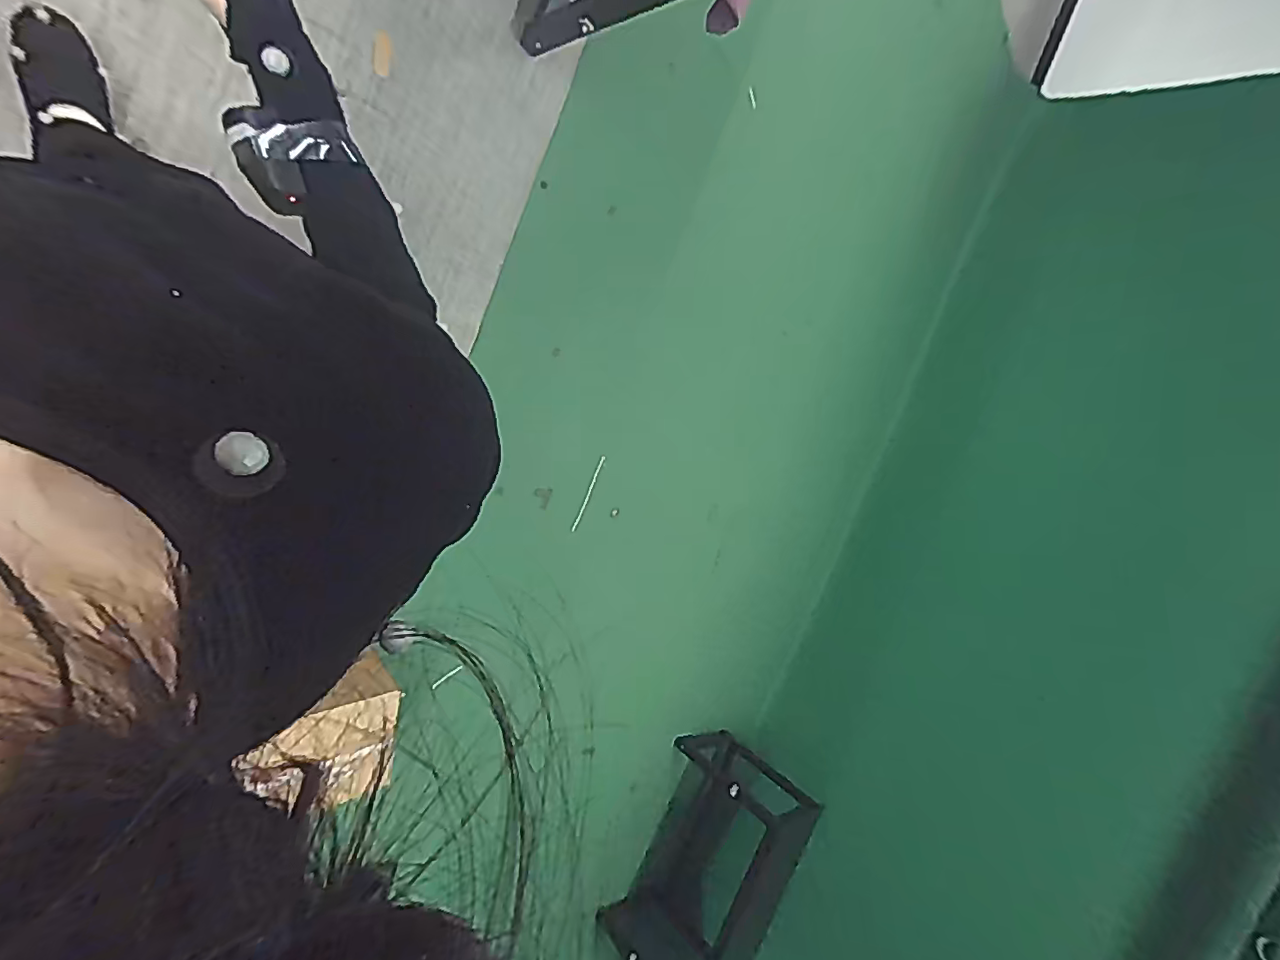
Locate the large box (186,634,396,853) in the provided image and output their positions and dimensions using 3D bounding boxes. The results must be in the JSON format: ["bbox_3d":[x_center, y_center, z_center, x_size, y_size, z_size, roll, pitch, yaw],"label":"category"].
[{"bbox_3d":[-0.921,0.654,1.429,0.408,0.320,0.320,-2,110,-46],"label":"large box"}]
